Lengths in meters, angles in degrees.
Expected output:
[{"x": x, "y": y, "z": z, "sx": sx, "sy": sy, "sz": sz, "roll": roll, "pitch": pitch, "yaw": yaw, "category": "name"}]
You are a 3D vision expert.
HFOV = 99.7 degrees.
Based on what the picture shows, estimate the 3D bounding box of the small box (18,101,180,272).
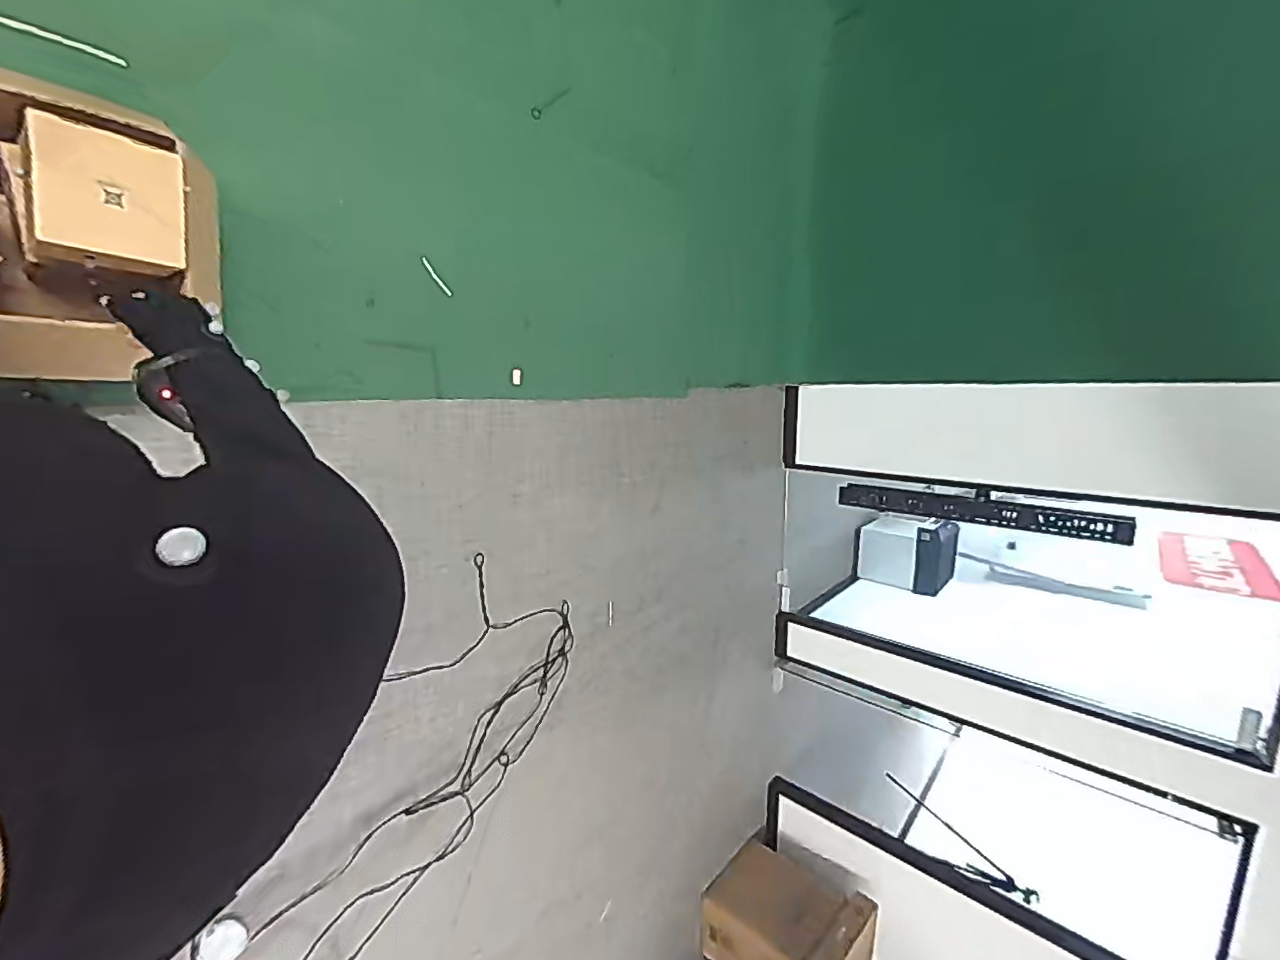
[{"x": -0.841, "y": -0.436, "z": 0.844, "sx": 0.168, "sy": 0.176, "sz": 0.179, "roll": -4, "pitch": 100, "yaw": -50, "category": "small box"}]
